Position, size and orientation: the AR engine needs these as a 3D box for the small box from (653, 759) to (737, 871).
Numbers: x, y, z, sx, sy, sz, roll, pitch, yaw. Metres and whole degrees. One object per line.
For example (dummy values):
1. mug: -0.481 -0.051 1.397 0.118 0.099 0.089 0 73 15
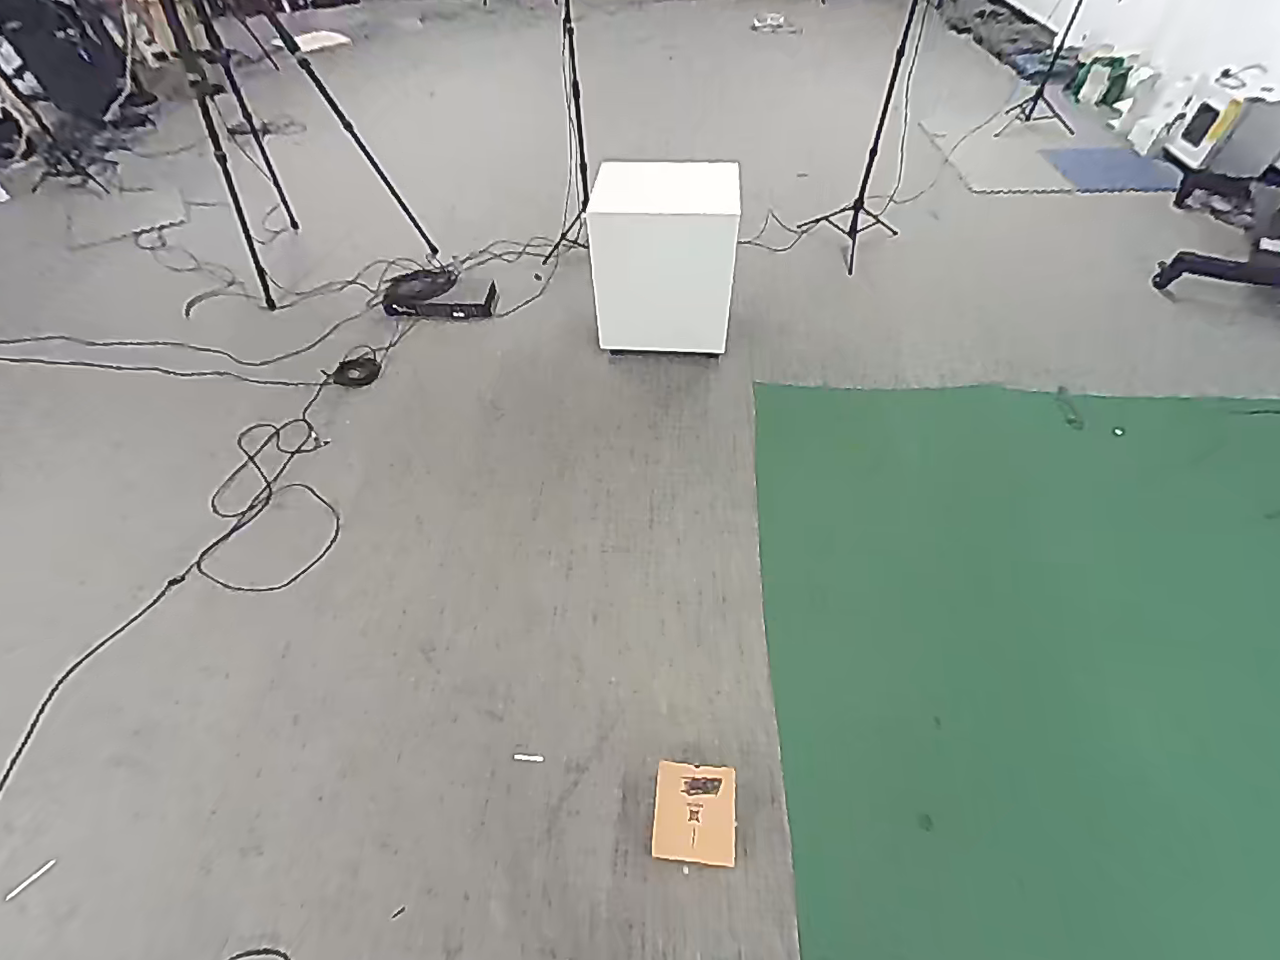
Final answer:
1. small box: 0.116 0.722 1.163 0.168 0.176 0.179 4 53 5
